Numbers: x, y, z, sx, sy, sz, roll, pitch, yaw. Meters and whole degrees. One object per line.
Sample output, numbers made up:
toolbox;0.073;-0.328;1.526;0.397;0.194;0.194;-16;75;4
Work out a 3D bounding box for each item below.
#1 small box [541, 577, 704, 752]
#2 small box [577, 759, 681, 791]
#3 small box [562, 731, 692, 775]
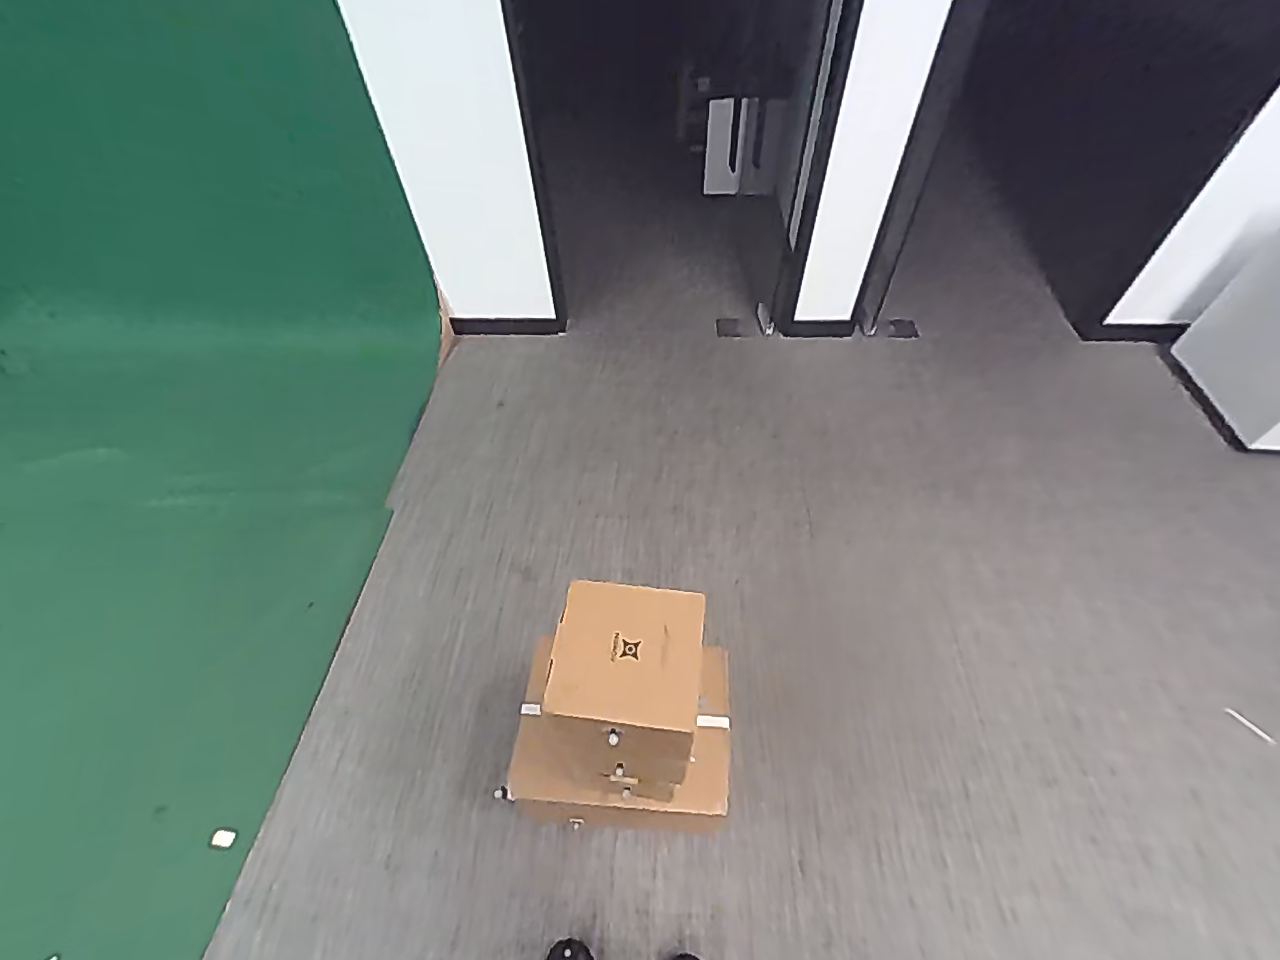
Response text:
small box;-0.012;0.243;0.702;0.179;0.176;0.168;4;54;5
small box;-0.005;0.440;0.962;0.168;0.176;0.179;4;54;7
small box;-0.005;0.342;0.830;0.179;0.176;0.168;3;53;8
